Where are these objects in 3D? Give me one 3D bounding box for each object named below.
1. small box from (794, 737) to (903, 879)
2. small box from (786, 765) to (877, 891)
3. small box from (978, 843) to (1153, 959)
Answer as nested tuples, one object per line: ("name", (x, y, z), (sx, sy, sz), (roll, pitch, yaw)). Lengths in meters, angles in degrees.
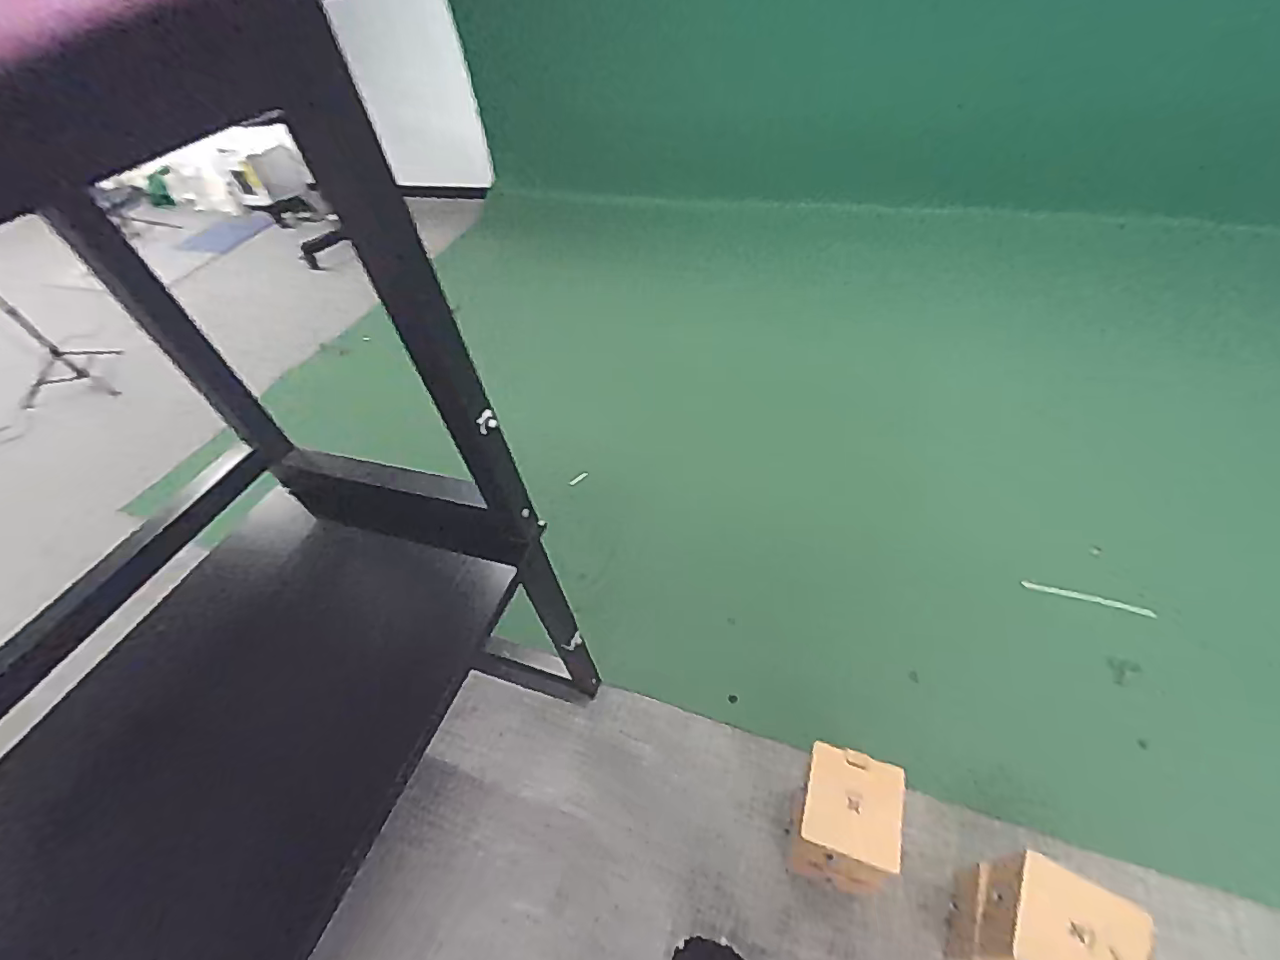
("small box", (0.395, 0.632, 1.039), (0.168, 0.176, 0.179), (11, 50, 18))
("small box", (0.410, 0.745, 1.155), (0.168, 0.176, 0.179), (10, 51, 17))
("small box", (0.690, 0.745, 0.892), (0.179, 0.176, 0.168), (21, 56, 24))
